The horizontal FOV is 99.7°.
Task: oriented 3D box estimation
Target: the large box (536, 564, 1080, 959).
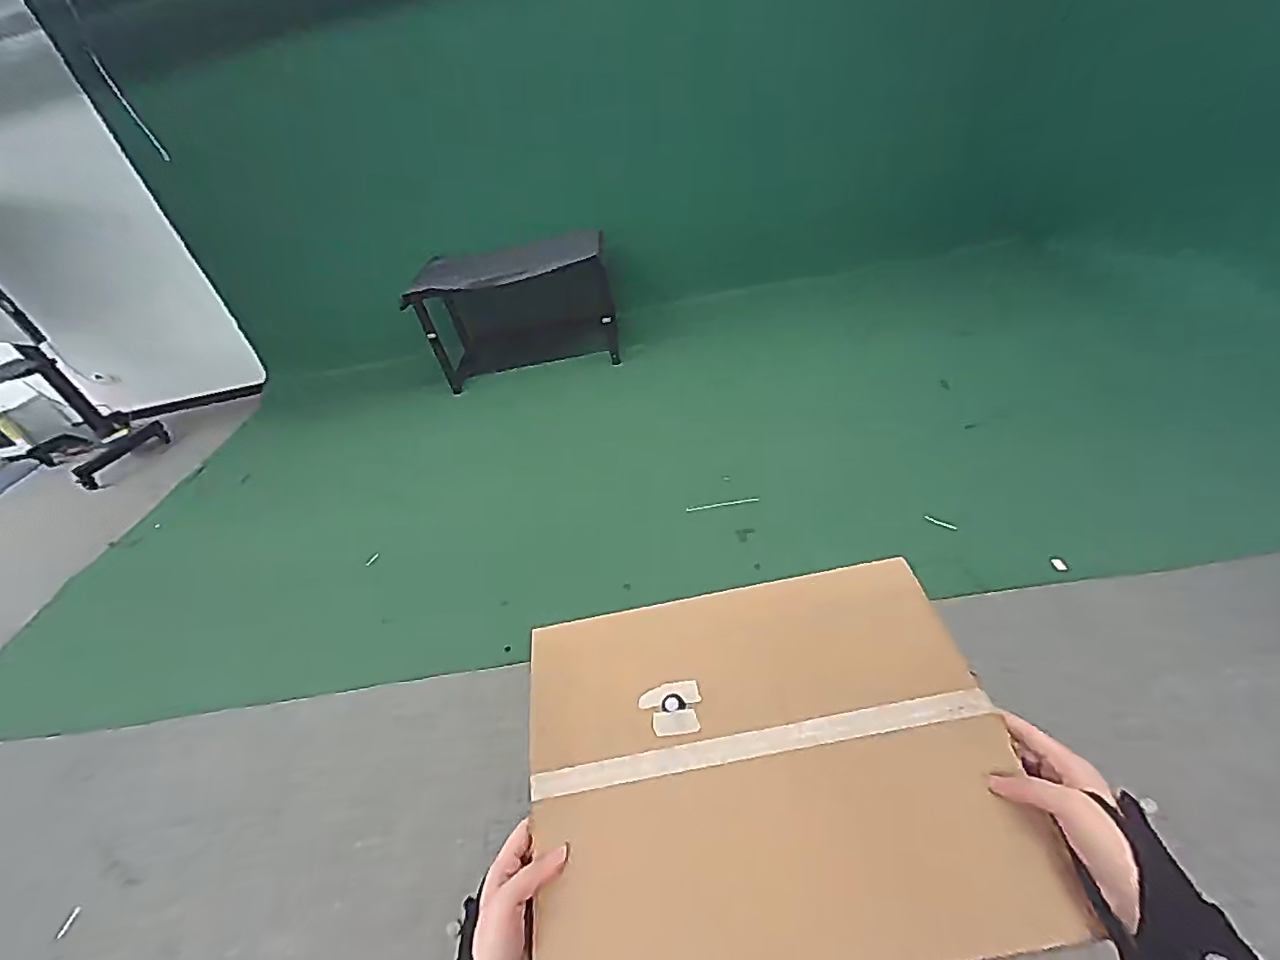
[{"bbox_3d":[0.129,0.341,0.598,0.408,0.320,0.320,-13,47,3],"label":"large box"}]
